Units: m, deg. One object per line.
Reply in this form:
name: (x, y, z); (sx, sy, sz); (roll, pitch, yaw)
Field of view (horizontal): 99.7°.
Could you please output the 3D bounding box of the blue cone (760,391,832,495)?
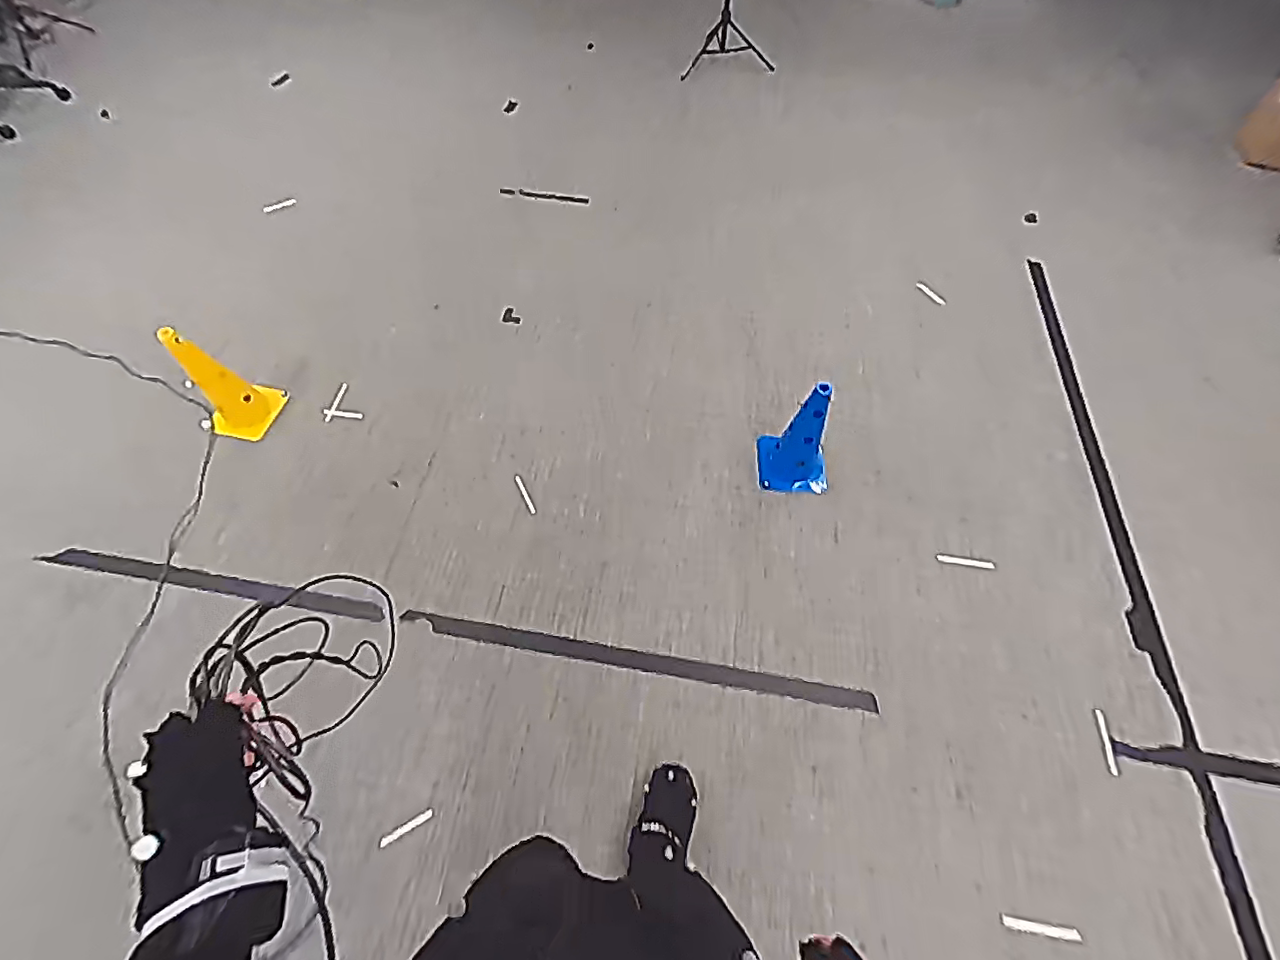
blue cone: (0.459, -0.123, 1.499); (0.193, 0.380, 0.192); (4, 60, 3)
